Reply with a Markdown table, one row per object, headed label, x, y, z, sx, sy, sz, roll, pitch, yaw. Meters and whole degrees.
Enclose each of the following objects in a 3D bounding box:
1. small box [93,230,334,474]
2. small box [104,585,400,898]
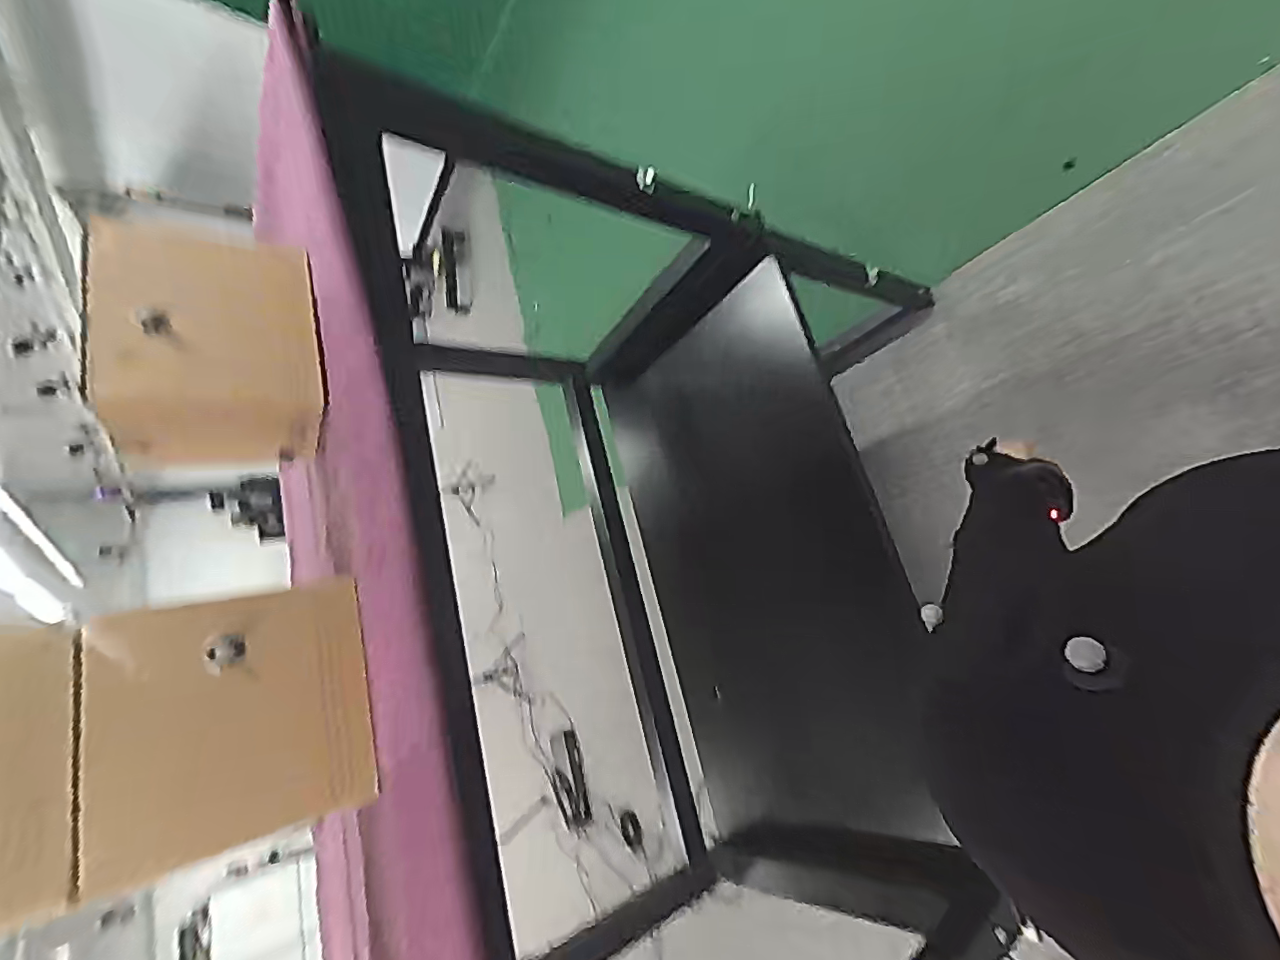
| label | x | y | z | sx | sy | sz | roll | pitch | yaw |
| --- | --- | --- | --- | --- | --- | --- | --- | --- | --- |
| small box | -0.423 | -0.120 | 0.558 | 0.168 | 0.176 | 0.179 | -33 | 67 | 51 |
| small box | -0.316 | 0.194 | 0.451 | 0.168 | 0.176 | 0.179 | -36 | 66 | 48 |
